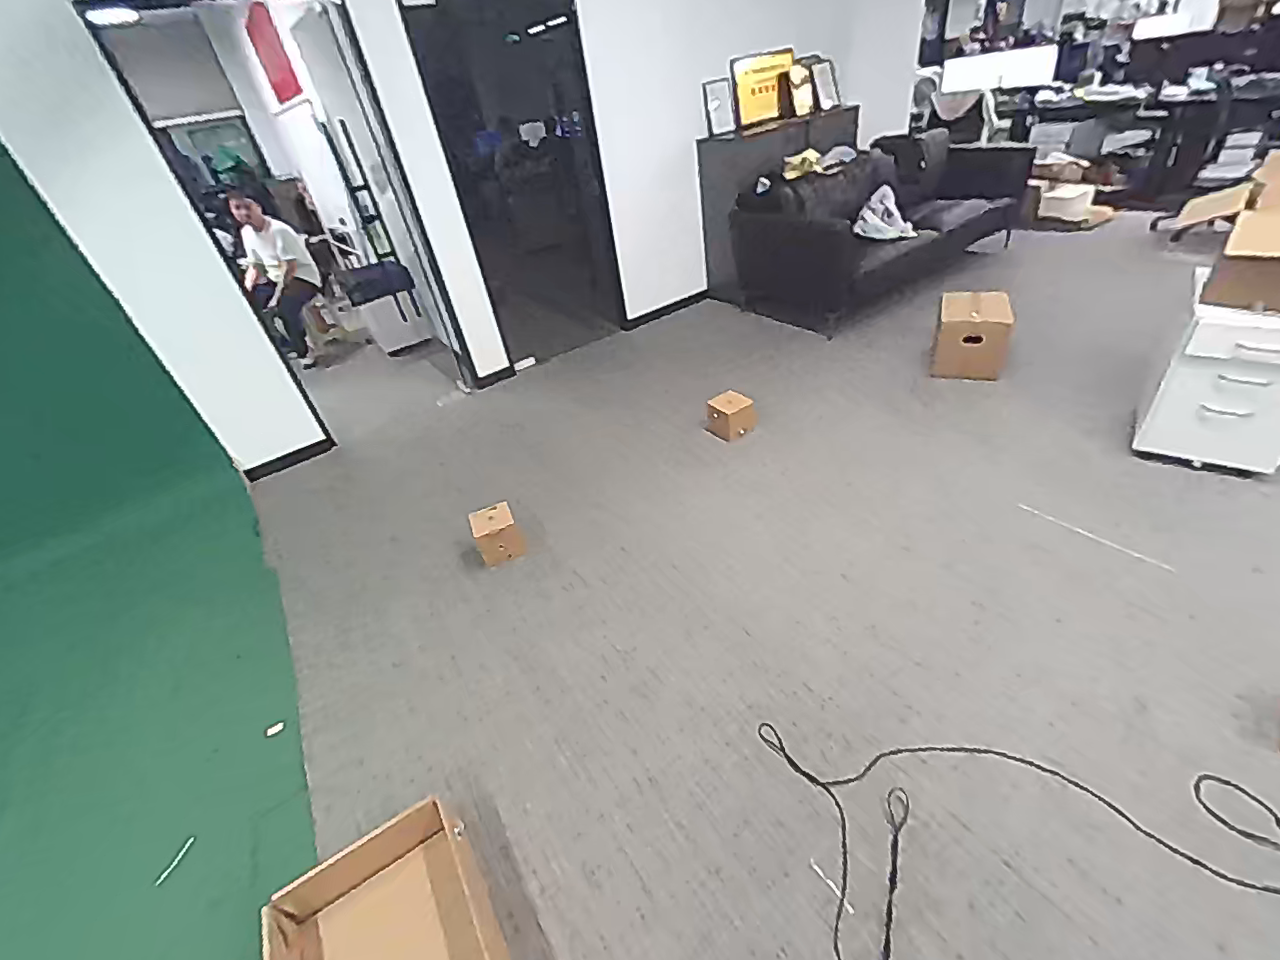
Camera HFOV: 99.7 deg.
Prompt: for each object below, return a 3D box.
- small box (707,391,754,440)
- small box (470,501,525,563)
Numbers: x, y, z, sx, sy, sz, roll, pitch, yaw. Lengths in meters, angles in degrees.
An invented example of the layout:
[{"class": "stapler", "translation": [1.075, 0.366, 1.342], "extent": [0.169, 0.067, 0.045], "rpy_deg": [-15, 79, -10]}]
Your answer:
[{"class": "small box", "translation": [0.461, -0.325, 2.739], "extent": [0.168, 0.176, 0.179], "rpy_deg": [-29, 41, -21]}, {"class": "small box", "translation": [-0.592, 0.223, 2.250], "extent": [0.168, 0.176, 0.179], "rpy_deg": [-20, 38, -13]}]
